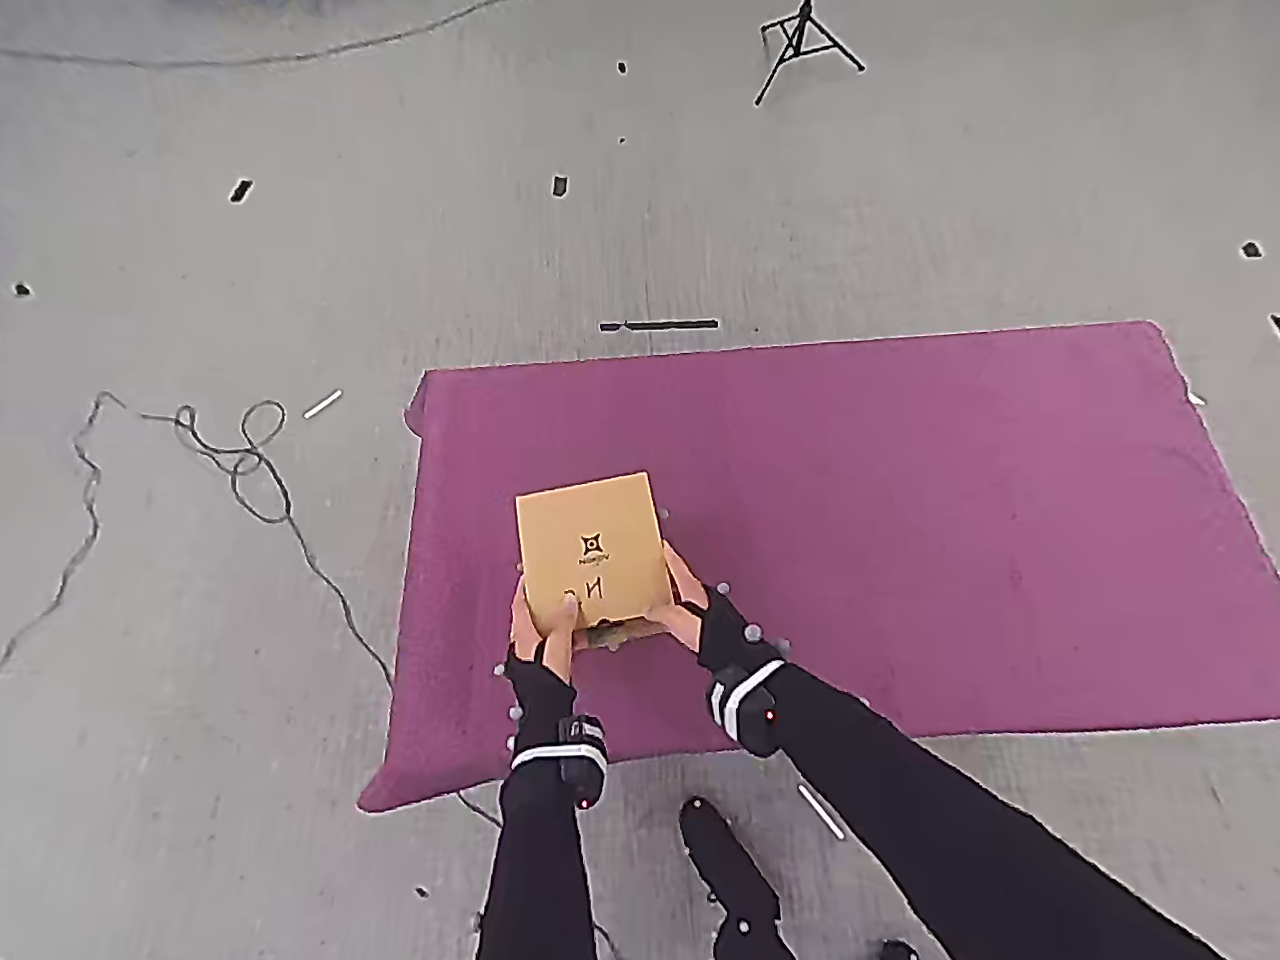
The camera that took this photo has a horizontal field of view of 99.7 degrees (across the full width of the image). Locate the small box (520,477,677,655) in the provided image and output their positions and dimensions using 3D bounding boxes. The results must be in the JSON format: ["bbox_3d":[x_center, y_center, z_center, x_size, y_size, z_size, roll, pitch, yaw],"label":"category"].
[{"bbox_3d":[-0.051,0.119,0.708,0.168,0.176,0.179,-11,67,-1],"label":"small box"}]
